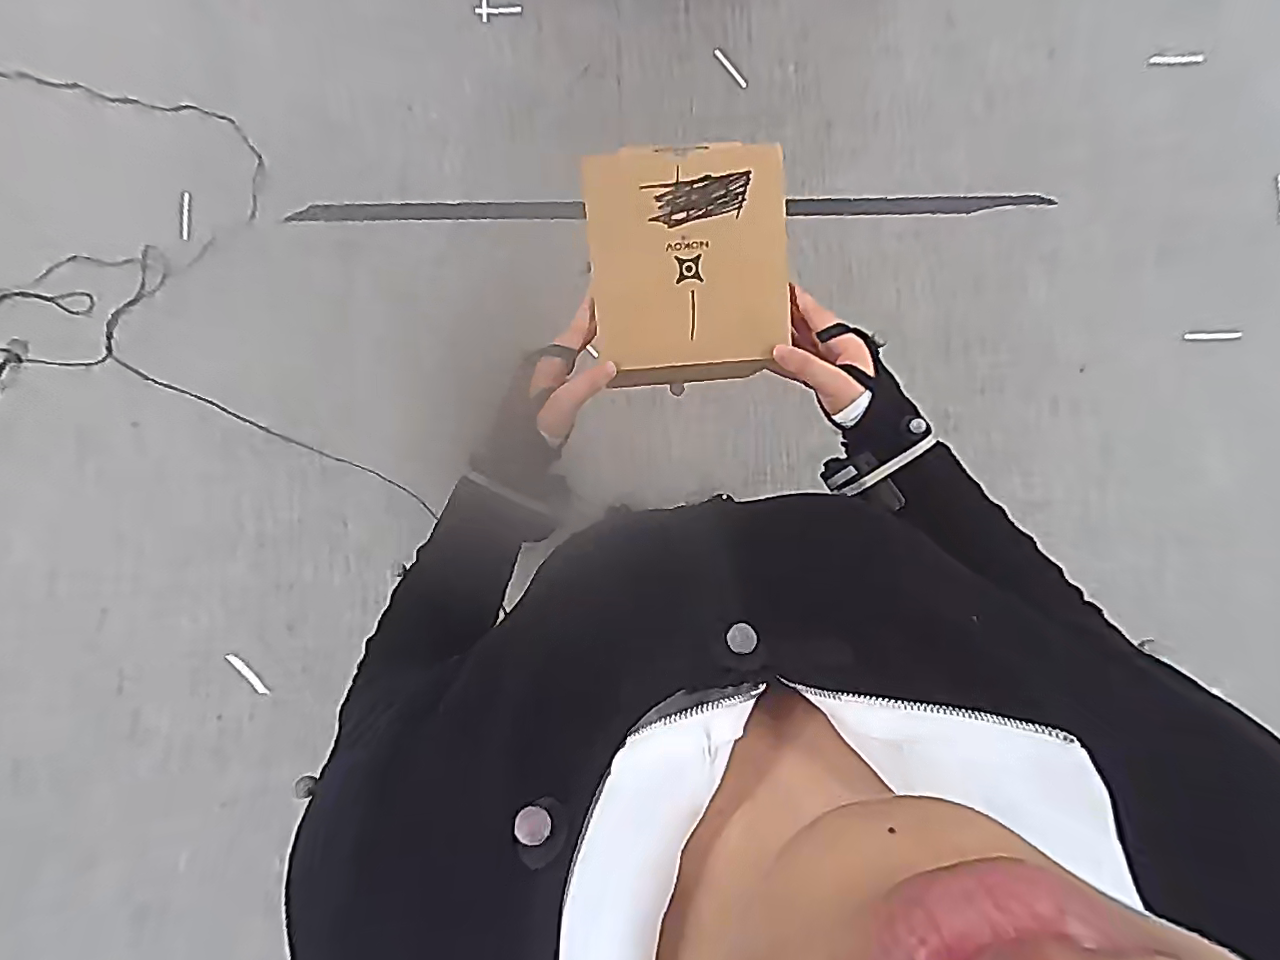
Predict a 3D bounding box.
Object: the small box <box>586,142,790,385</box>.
[{"bbox_3d":[0.038,-0.194,0.530,0.168,0.176,0.179,-5,95,-1],"label":"small box"}]
